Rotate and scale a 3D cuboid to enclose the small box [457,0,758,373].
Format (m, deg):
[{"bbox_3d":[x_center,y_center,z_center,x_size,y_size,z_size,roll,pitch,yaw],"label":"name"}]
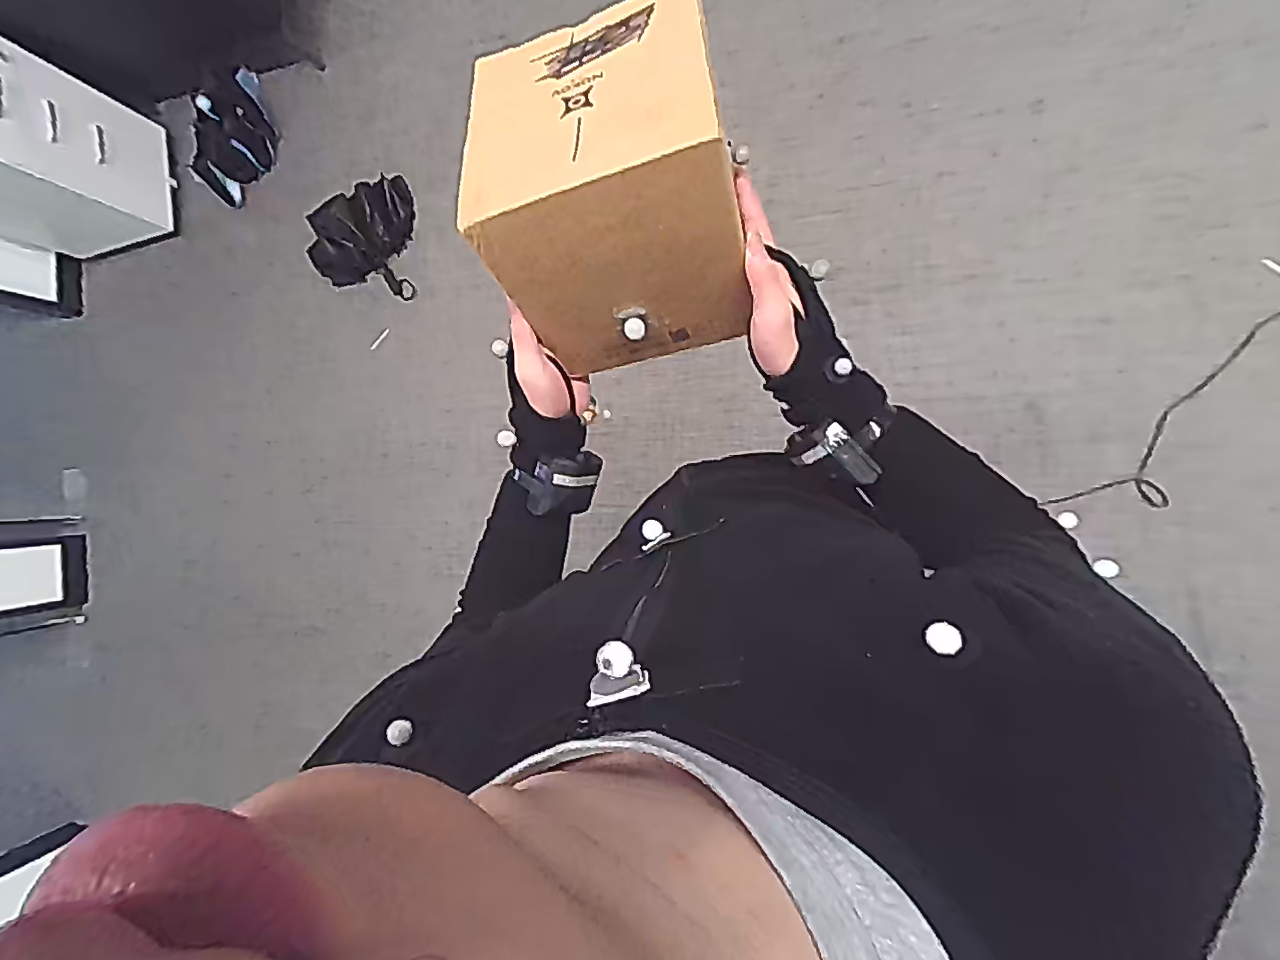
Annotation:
[{"bbox_3d":[-0.011,-0.210,0.409,0.168,0.176,0.179,-10,65,16],"label":"small box"}]
